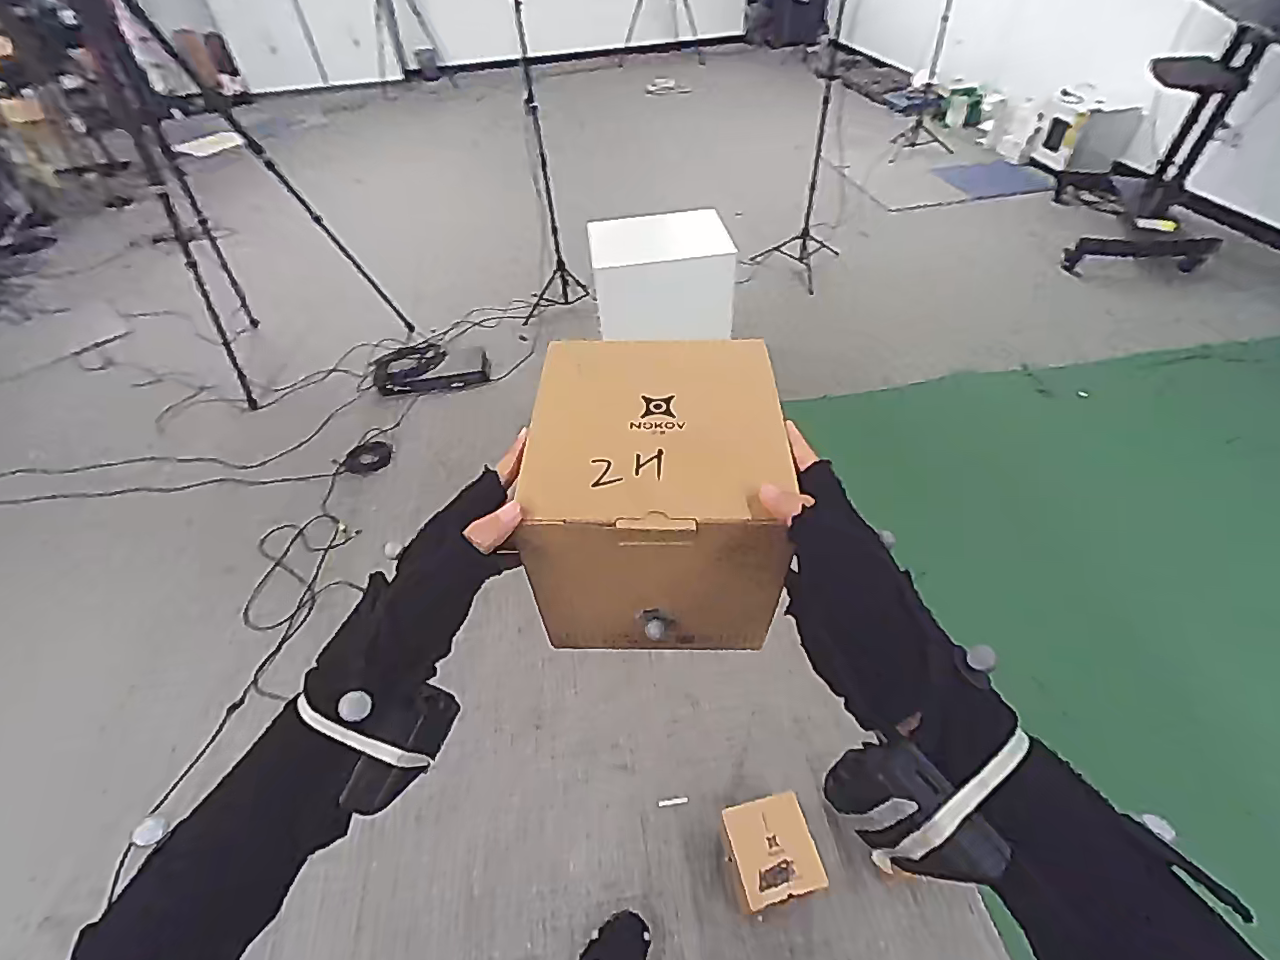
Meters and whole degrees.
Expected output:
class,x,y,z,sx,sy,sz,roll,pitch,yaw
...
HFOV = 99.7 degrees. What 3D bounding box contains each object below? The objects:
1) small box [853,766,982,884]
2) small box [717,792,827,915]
class,x,y,z,sx,sy,sz,roll,pitch,yaw
small box,0.591,0.754,1.181,0.168,0.176,0.179,-8,48,-3
small box,0.272,0.802,1.155,0.168,0.176,0.179,-12,47,-8
